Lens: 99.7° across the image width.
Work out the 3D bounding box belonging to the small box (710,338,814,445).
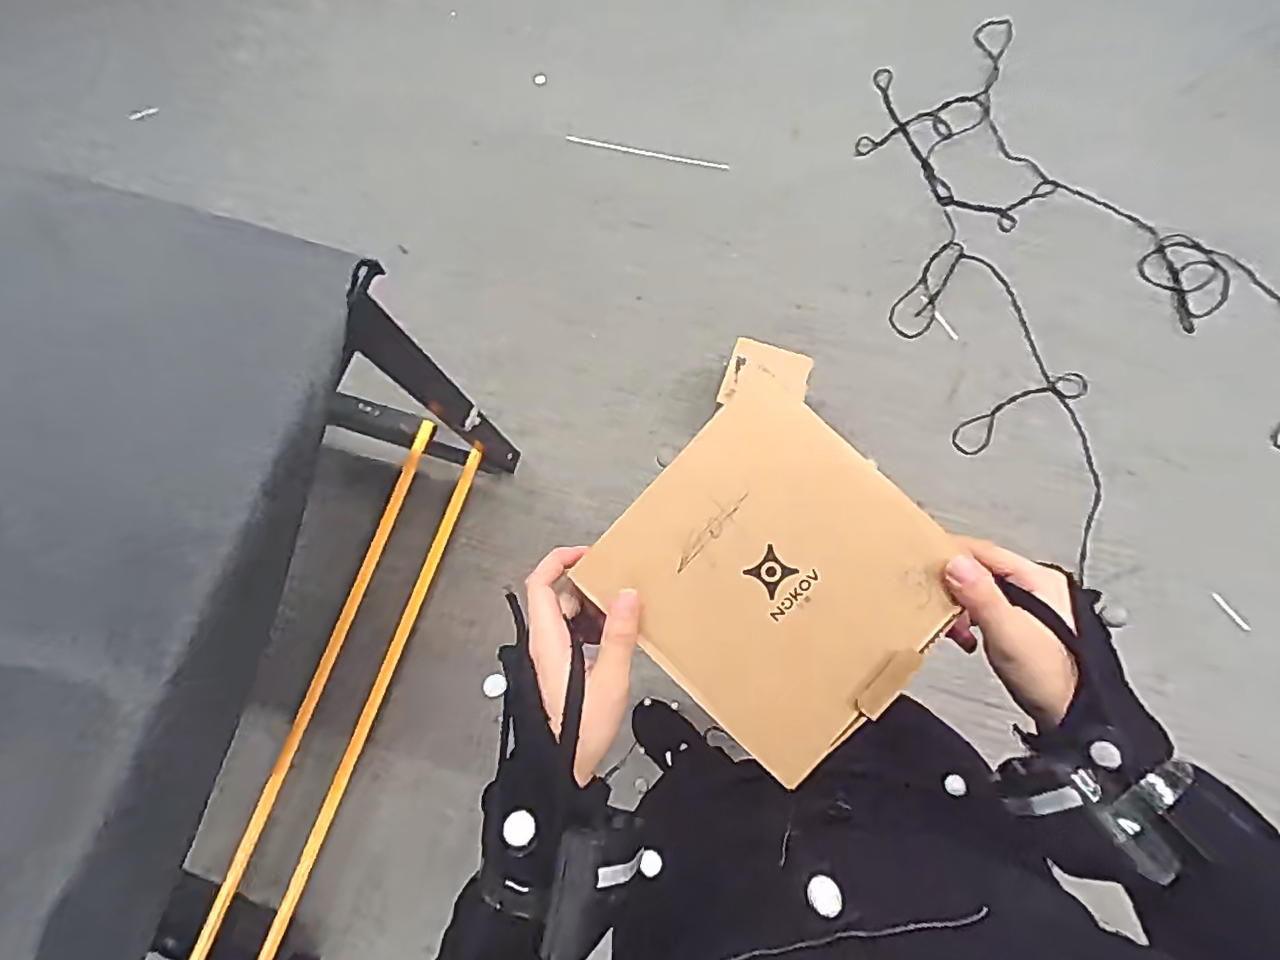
[{"bbox_3d":[0.274,-0.195,1.251,0.179,0.176,0.168,20,78,7],"label":"small box"}]
